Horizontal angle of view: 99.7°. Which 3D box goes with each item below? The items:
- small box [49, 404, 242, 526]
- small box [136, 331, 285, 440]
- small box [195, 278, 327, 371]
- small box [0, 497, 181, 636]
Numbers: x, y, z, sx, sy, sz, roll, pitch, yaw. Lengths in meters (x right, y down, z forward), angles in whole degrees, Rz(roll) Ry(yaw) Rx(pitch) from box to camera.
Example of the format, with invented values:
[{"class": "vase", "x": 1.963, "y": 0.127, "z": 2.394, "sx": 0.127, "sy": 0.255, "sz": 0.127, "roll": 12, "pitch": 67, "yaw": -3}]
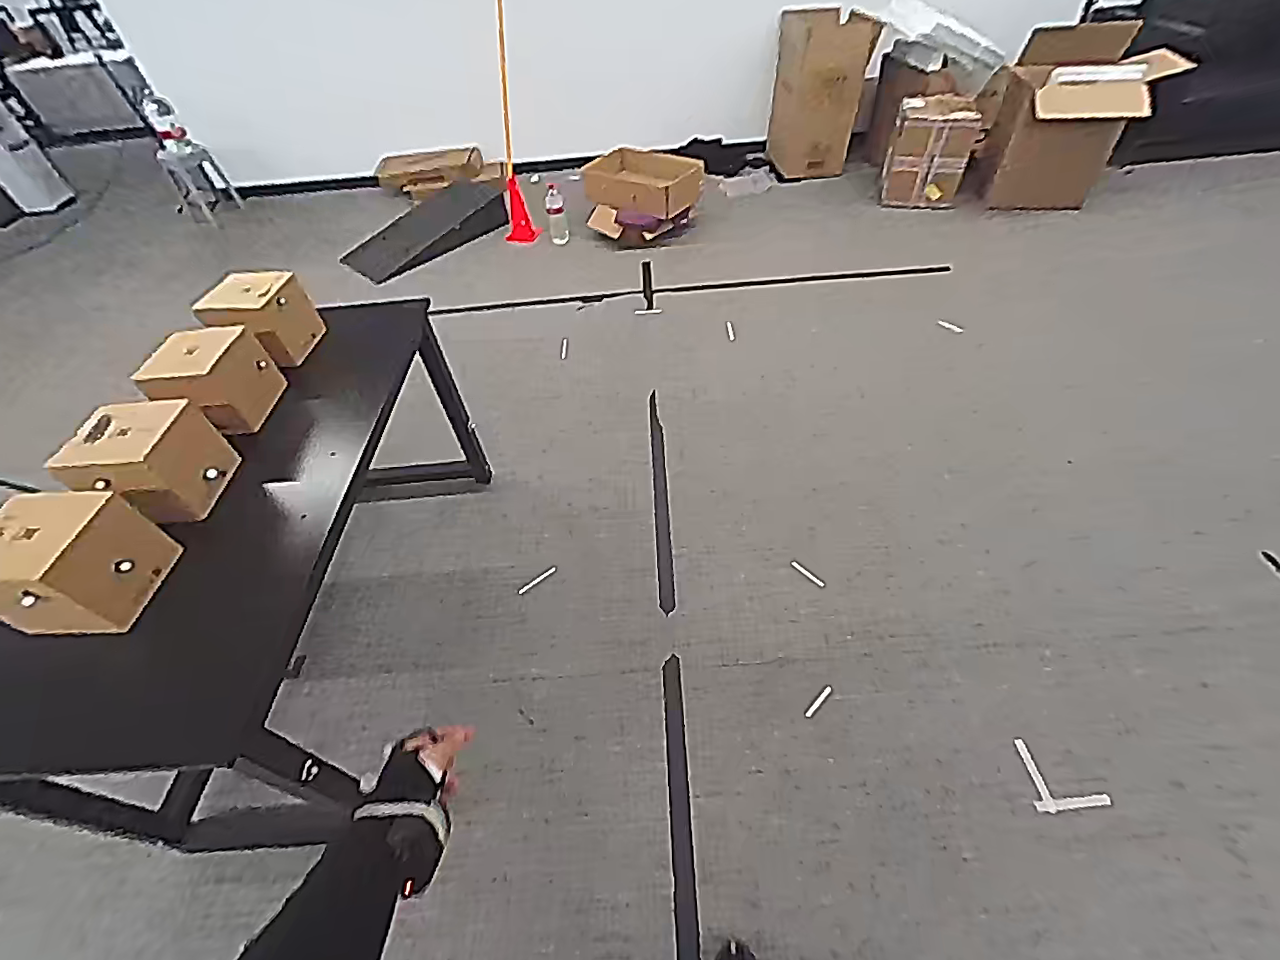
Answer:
[{"class": "small box", "x": -0.925, "y": -0.023, "z": 1.035, "sx": 0.179, "sy": 0.176, "sz": 0.168, "roll": -4, "pitch": 48, "yaw": 0}, {"class": "small box", "x": -0.935, "y": -0.206, "z": 1.203, "sx": 0.168, "sy": 0.176, "sz": 0.179, "roll": -5, "pitch": 49, "yaw": 3}, {"class": "small box", "x": -0.942, "y": -0.387, "z": 1.363, "sx": 0.179, "sy": 0.176, "sz": 0.168, "roll": -1, "pitch": 49, "yaw": 6}, {"class": "small box", "x": -0.924, "y": 0.144, "z": 0.885, "sx": 0.179, "sy": 0.176, "sz": 0.168, "roll": -2, "pitch": 48, "yaw": 4}]
